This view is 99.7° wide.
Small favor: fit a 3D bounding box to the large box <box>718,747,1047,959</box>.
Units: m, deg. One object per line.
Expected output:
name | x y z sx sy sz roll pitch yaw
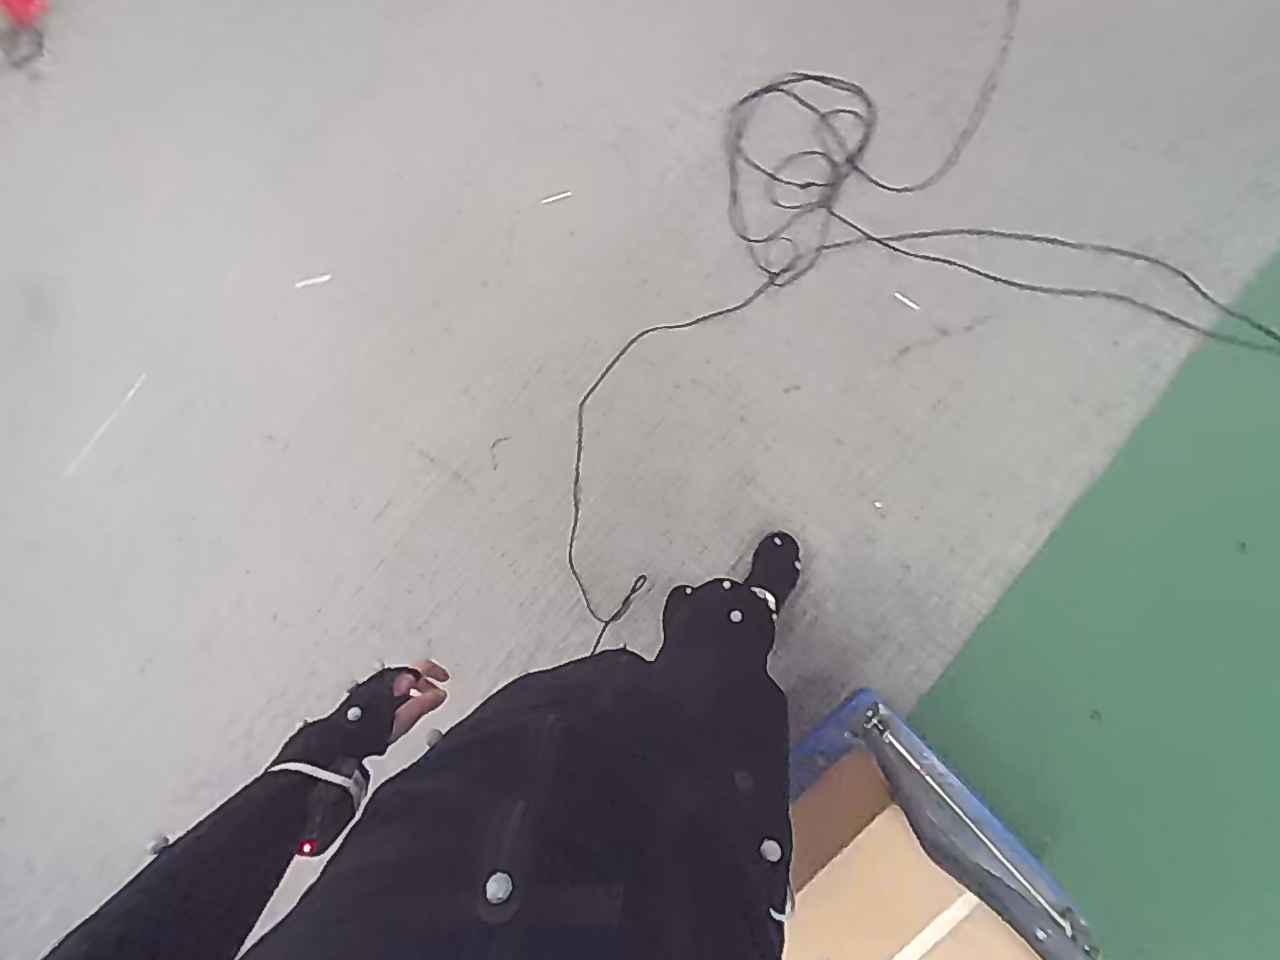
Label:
large box | 0.387 0.770 0.952 0.408 0.320 0.320 -45 75 1
